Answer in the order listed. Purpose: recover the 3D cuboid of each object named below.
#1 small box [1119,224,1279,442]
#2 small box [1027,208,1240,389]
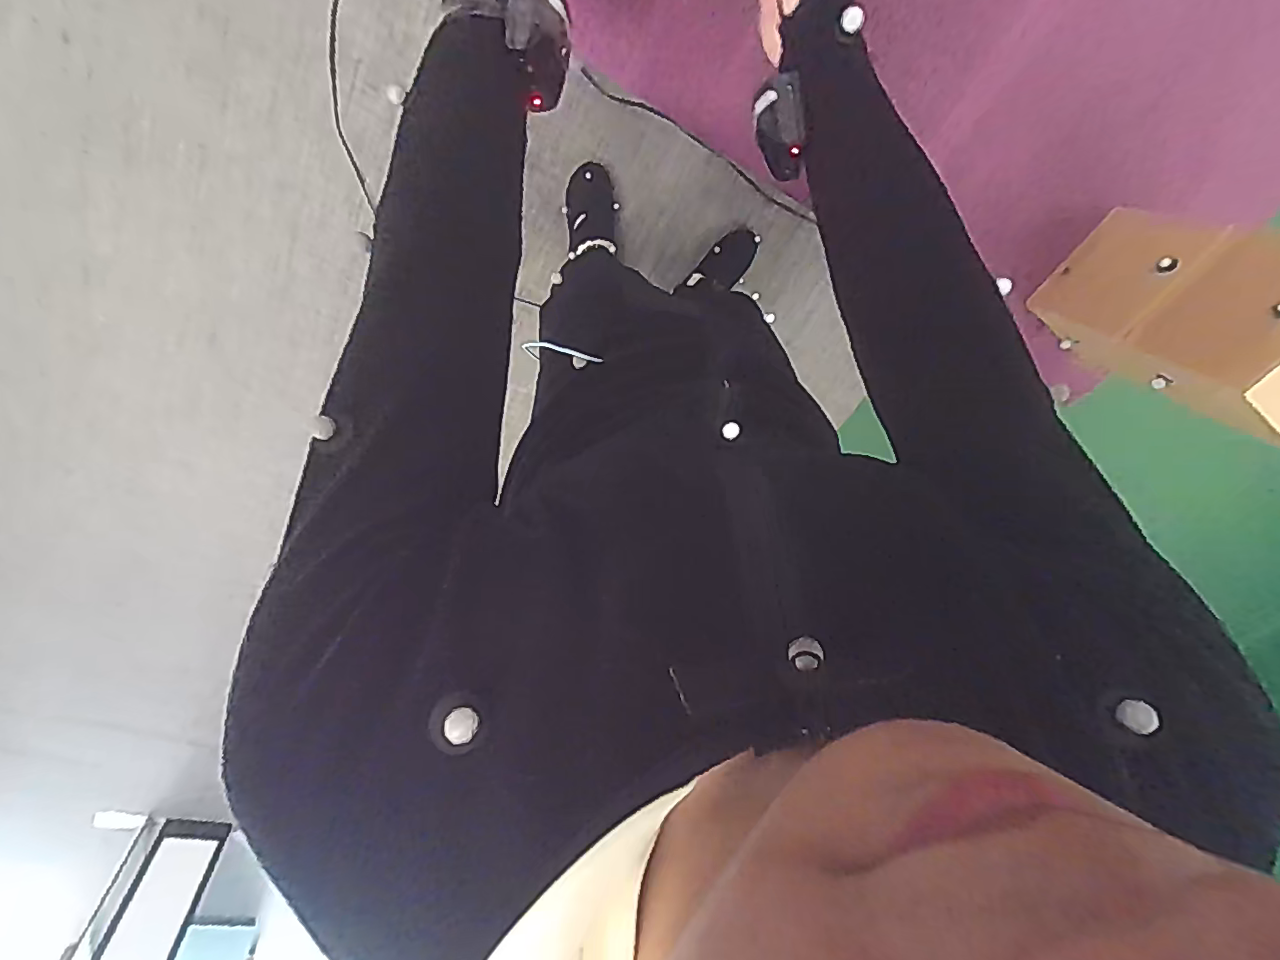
[{"bbox_3d":[0.747,-0.176,0.643,0.168,0.176,0.179,26,116,-22],"label":"small box"},{"bbox_3d":[0.721,-0.265,0.778,0.179,0.176,0.168,25,116,-24],"label":"small box"}]
